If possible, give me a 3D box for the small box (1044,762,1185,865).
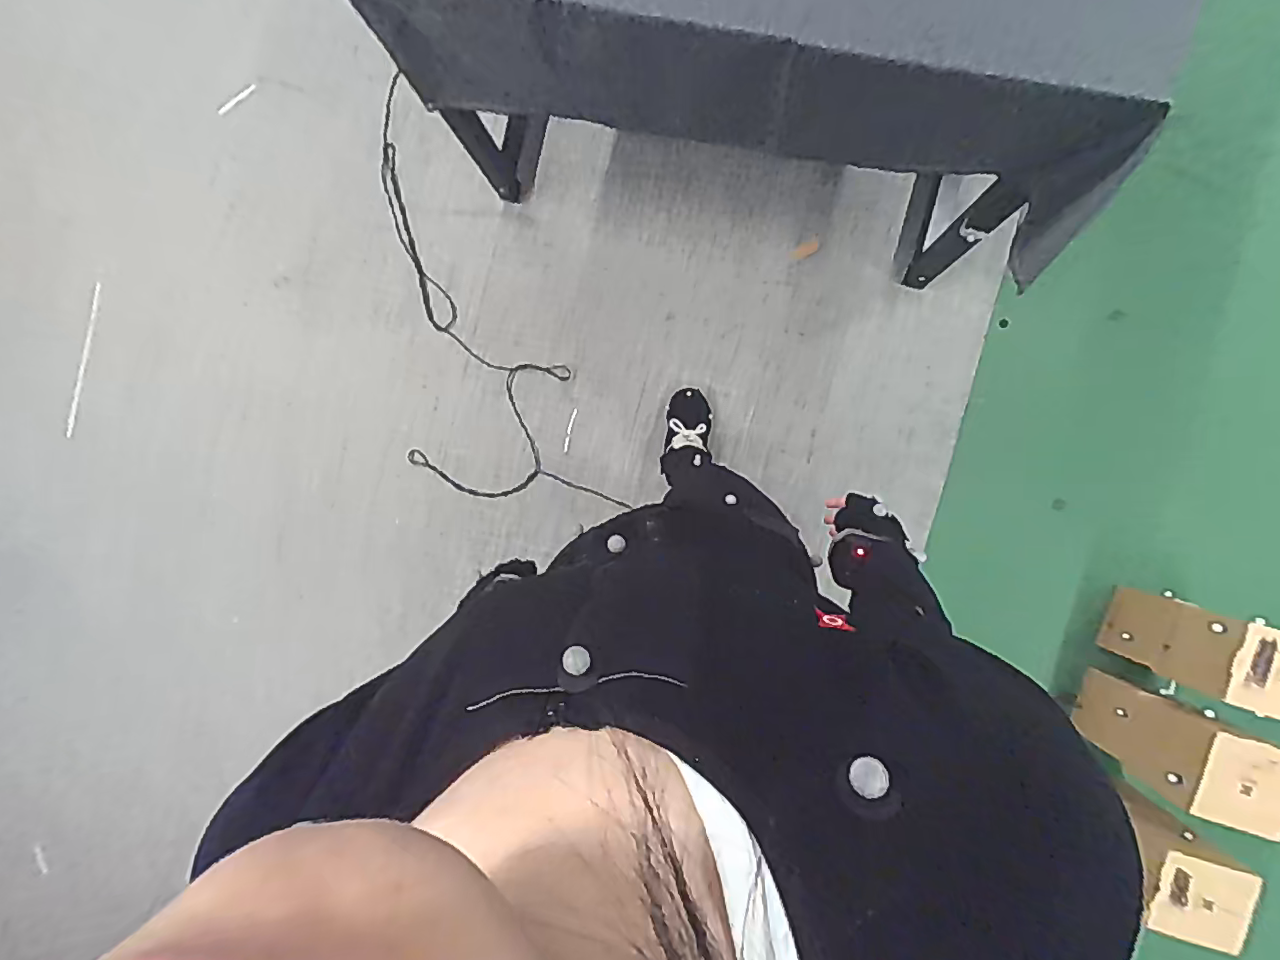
[{"bbox_3d":[1.124,0.809,1.290,0.179,0.176,0.168,15,92,6],"label":"small box"}]

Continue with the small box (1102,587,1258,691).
[{"bbox_3d":[1.254,0.362,1.273,0.179,0.176,0.168,19,92,6],"label":"small box"}]

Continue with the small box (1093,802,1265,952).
[{"bbox_3d":[1.105,0.811,1.127,0.179,0.176,0.168,14,93,6],"label":"small box"}]
